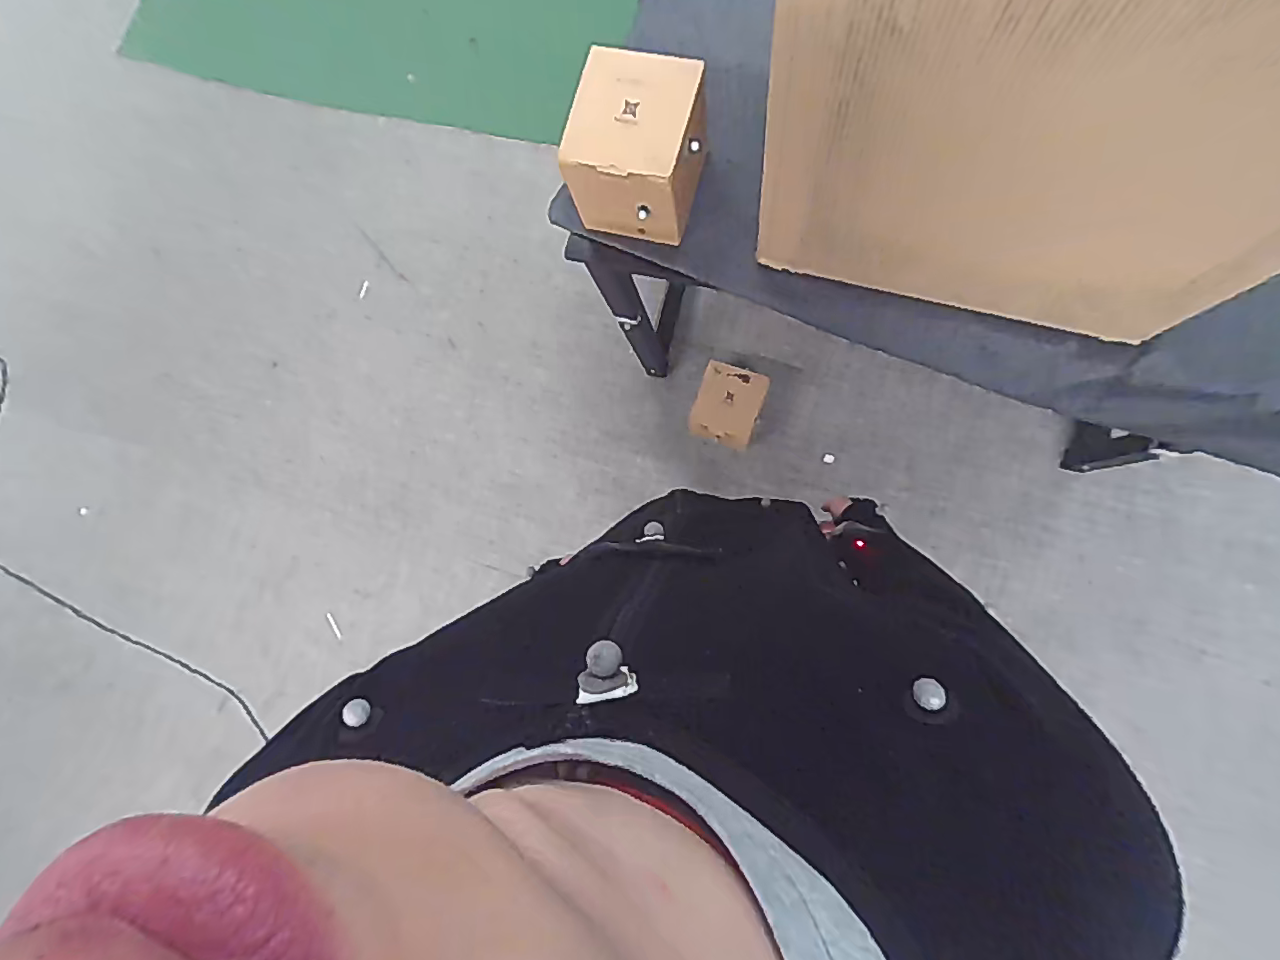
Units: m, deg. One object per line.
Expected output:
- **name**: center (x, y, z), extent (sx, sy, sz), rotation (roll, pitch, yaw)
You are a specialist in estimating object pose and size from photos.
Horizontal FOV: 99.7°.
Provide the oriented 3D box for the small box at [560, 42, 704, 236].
- **small box**: center (-0.001, -0.499, 0.814), extent (0.168, 0.176, 0.179), rotation (15, 84, 9)
